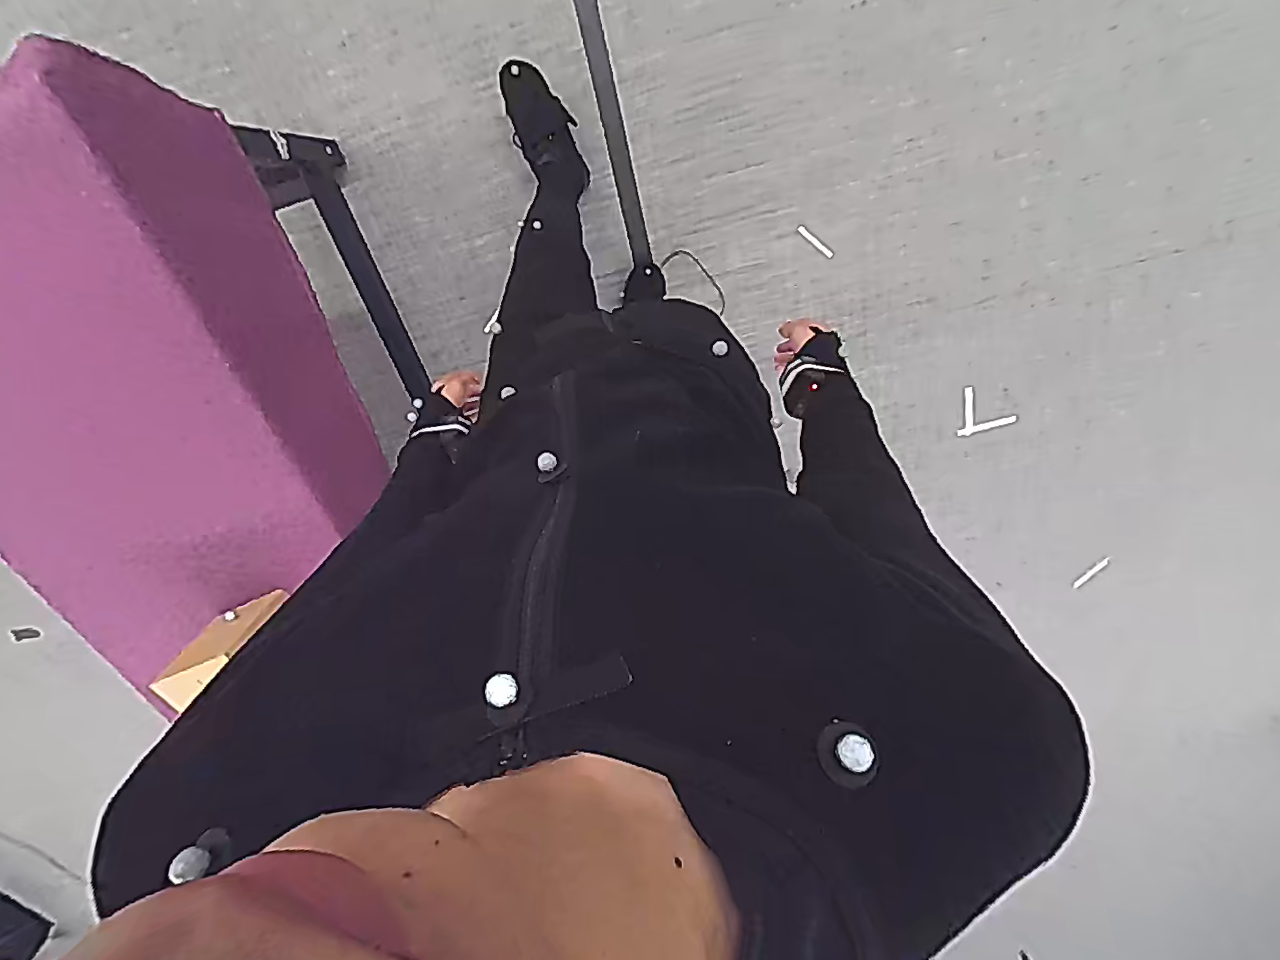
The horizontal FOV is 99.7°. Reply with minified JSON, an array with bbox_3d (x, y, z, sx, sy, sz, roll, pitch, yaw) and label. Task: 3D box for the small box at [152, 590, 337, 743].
[{"bbox_3d":[-0.699,0.334,0.983,0.168,0.176,0.179,-23,116,11],"label":"small box"}]
